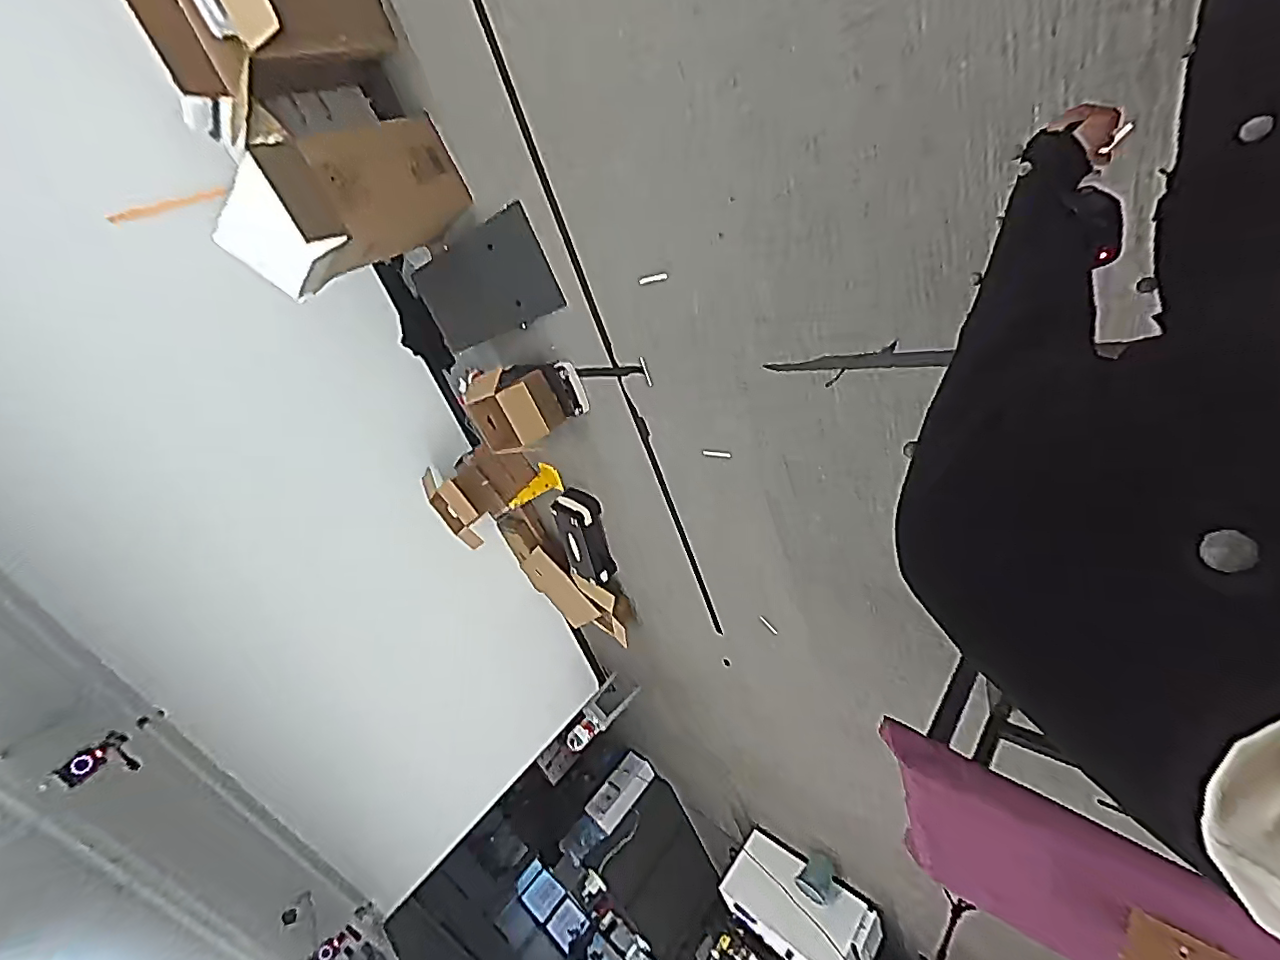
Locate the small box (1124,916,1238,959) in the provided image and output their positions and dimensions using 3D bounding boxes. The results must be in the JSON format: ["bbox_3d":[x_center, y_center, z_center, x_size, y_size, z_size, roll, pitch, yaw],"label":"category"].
[{"bbox_3d":[1.158,1.088,1.157,0.179,0.176,0.168,7,130,49],"label":"small box"}]
